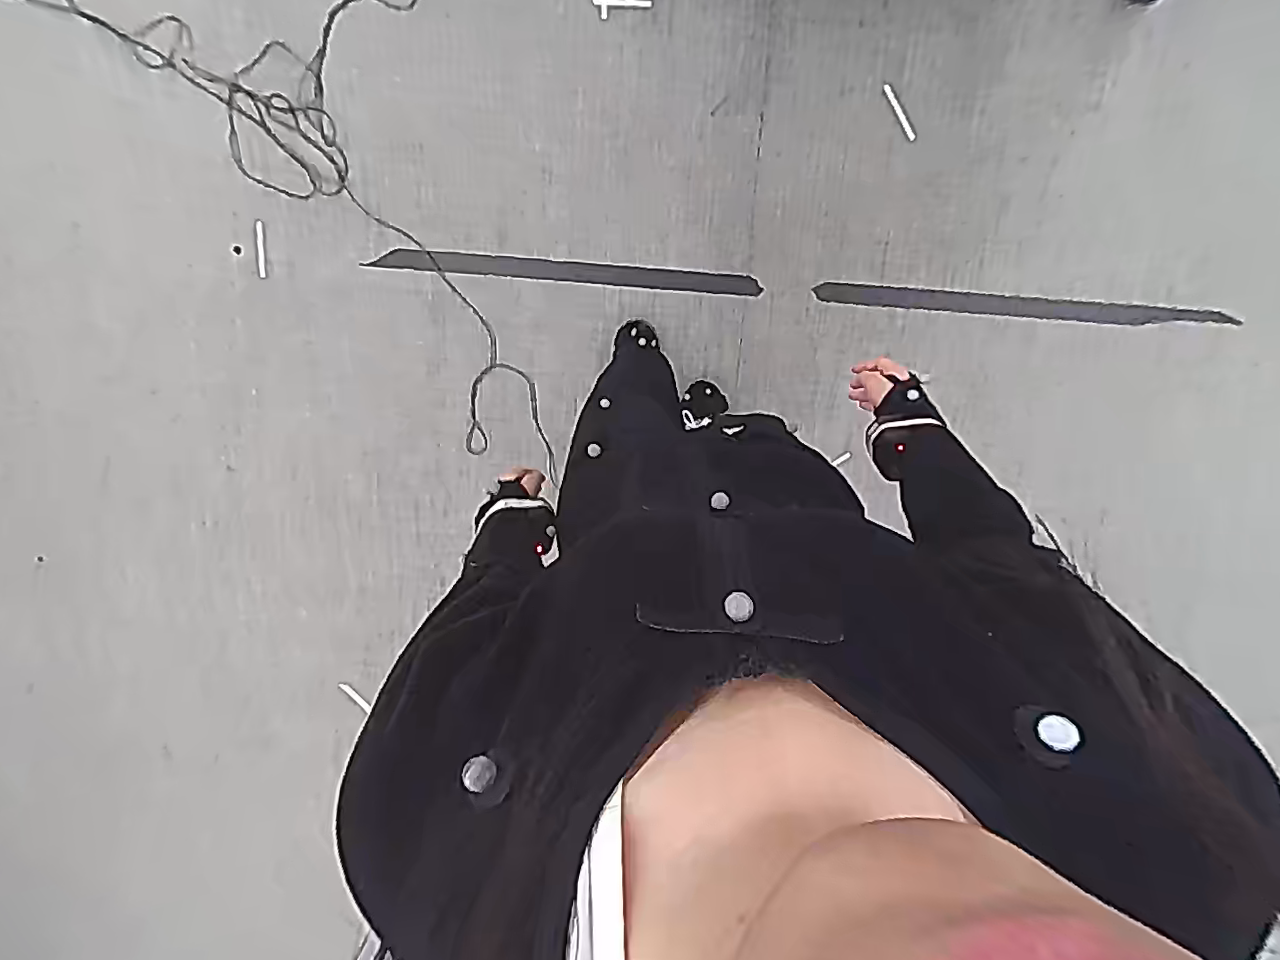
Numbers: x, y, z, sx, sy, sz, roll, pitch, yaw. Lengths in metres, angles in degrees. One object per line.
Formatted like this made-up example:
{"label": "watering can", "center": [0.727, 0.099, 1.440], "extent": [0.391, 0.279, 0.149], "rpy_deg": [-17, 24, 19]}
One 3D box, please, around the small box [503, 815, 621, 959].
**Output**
{"label": "small box", "center": [-0.153, 0.855, 1.135], "extent": [0.179, 0.176, 0.168], "rpy_deg": [-35, 98, 9]}
